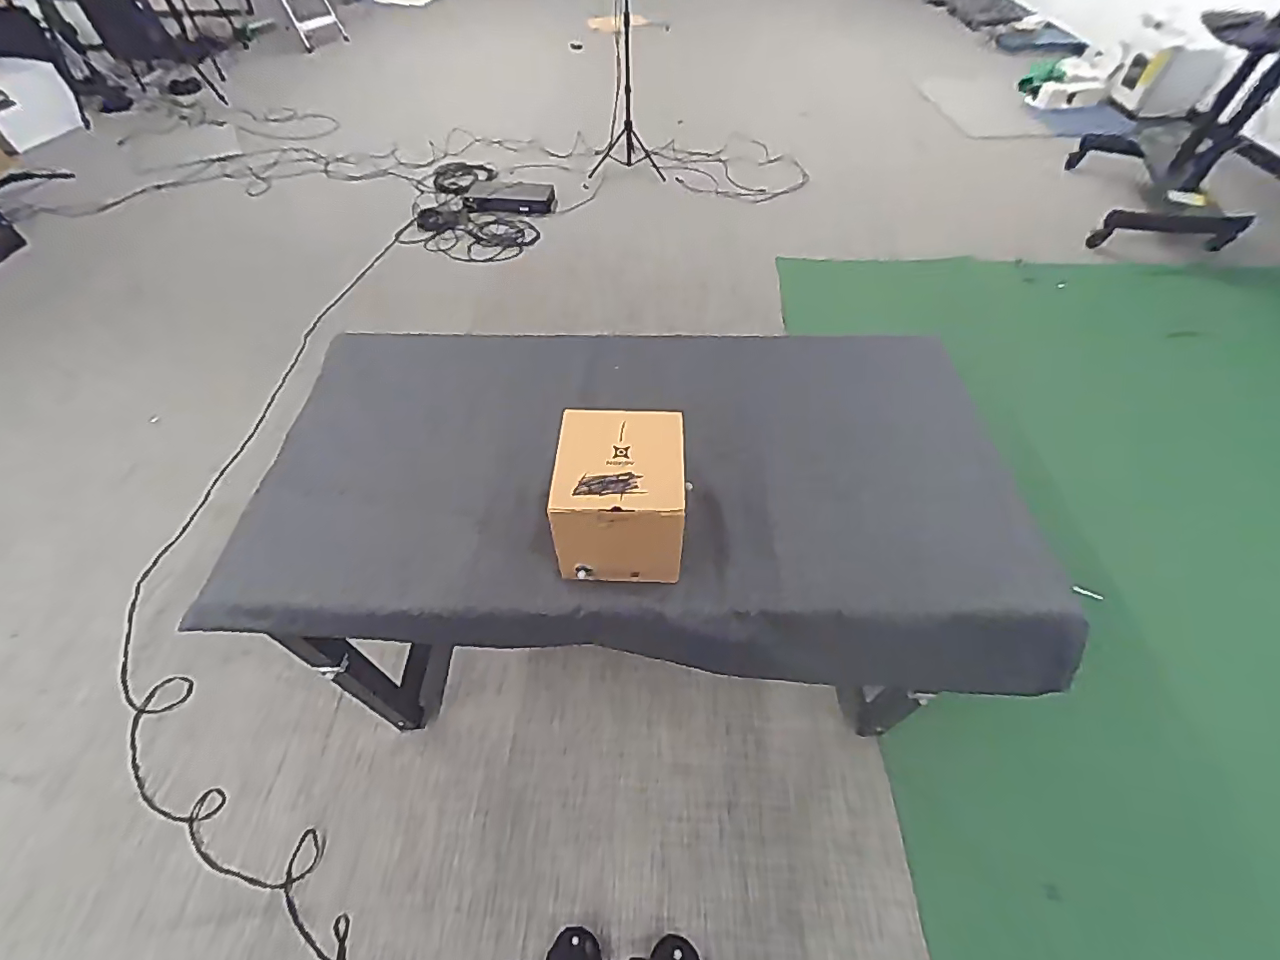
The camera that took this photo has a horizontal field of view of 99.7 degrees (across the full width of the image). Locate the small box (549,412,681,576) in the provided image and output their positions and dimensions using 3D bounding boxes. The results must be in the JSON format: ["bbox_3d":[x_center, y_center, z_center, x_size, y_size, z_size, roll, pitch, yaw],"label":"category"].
[{"bbox_3d":[-0.026,0.023,0.774,0.168,0.176,0.179,2,50,1],"label":"small box"}]
